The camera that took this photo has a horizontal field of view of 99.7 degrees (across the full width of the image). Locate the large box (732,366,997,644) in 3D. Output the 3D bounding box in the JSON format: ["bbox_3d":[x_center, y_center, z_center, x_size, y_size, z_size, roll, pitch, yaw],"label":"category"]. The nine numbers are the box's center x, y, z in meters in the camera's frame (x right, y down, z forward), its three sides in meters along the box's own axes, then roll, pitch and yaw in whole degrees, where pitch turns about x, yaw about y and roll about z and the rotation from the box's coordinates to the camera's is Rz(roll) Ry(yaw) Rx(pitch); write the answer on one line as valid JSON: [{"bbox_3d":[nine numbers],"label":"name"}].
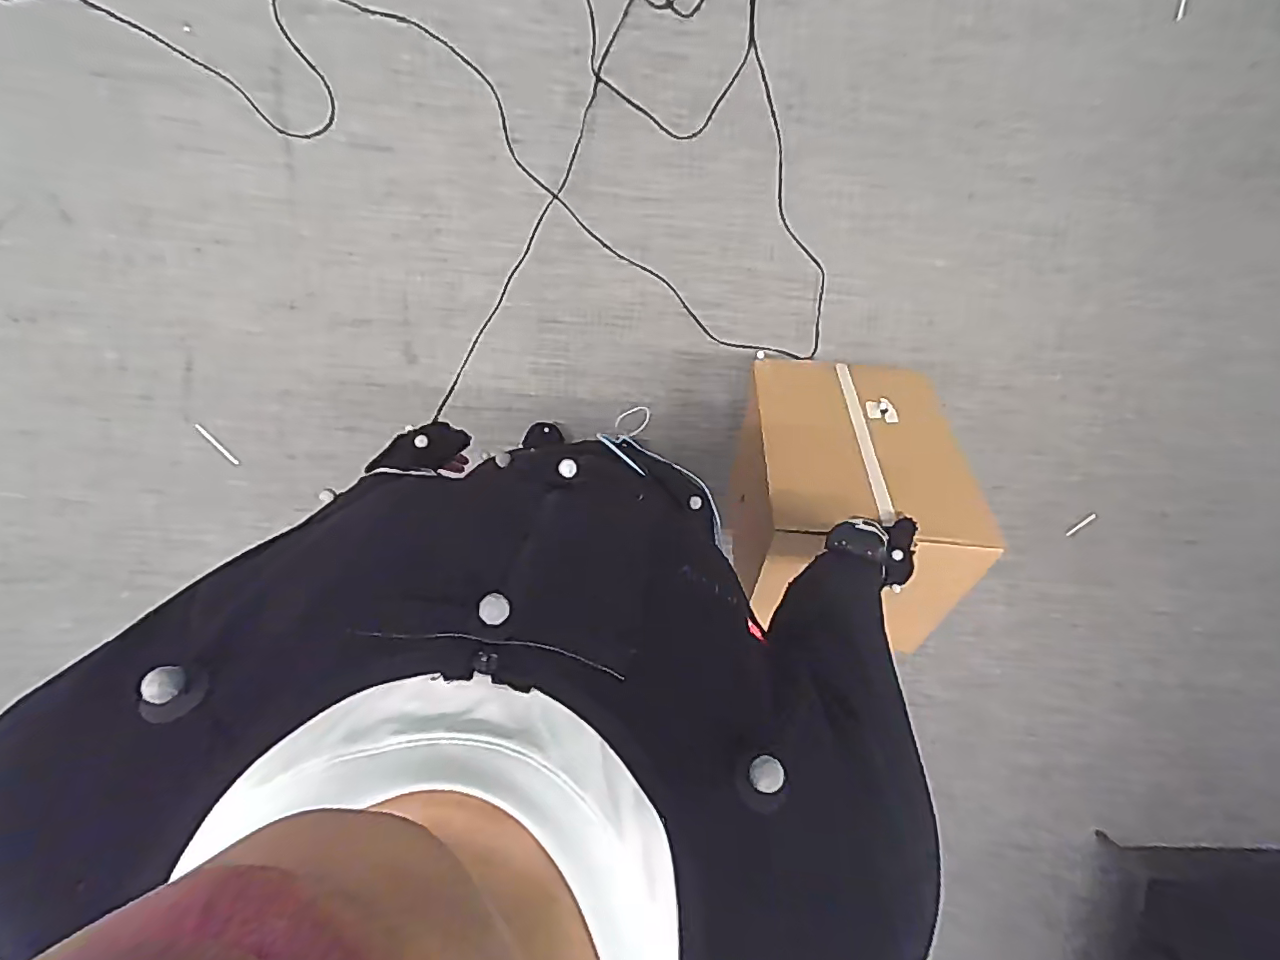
[{"bbox_3d":[0.349,0.042,0.984,0.320,0.408,0.320,5,137,1],"label":"large box"}]
